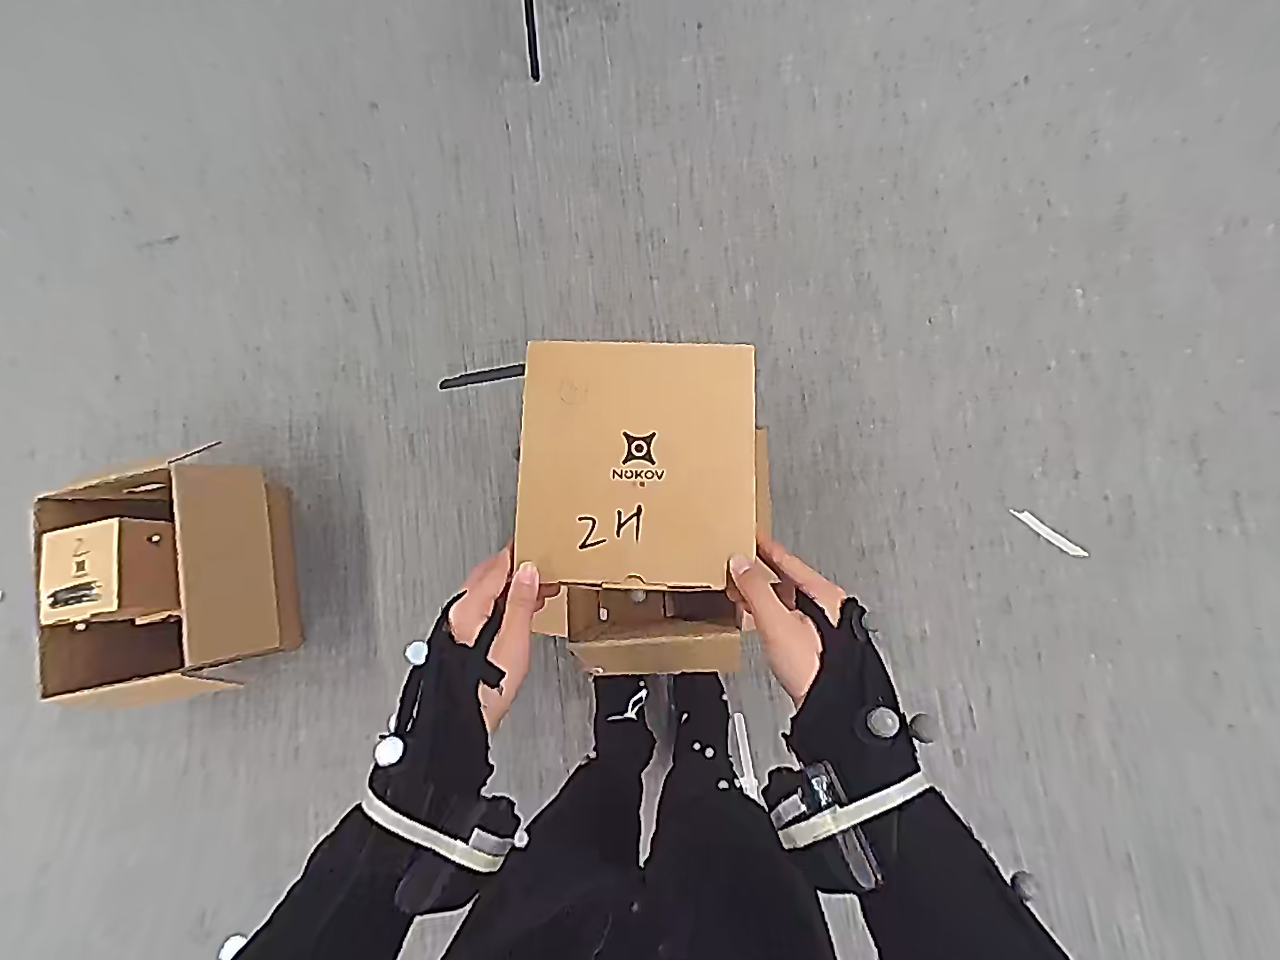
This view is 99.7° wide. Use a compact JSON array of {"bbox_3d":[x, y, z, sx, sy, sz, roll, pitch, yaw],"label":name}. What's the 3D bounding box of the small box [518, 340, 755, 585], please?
[{"bbox_3d":[0.001,-0.003,0.464,0.168,0.176,0.179,1,81,1],"label":"small box"}]
